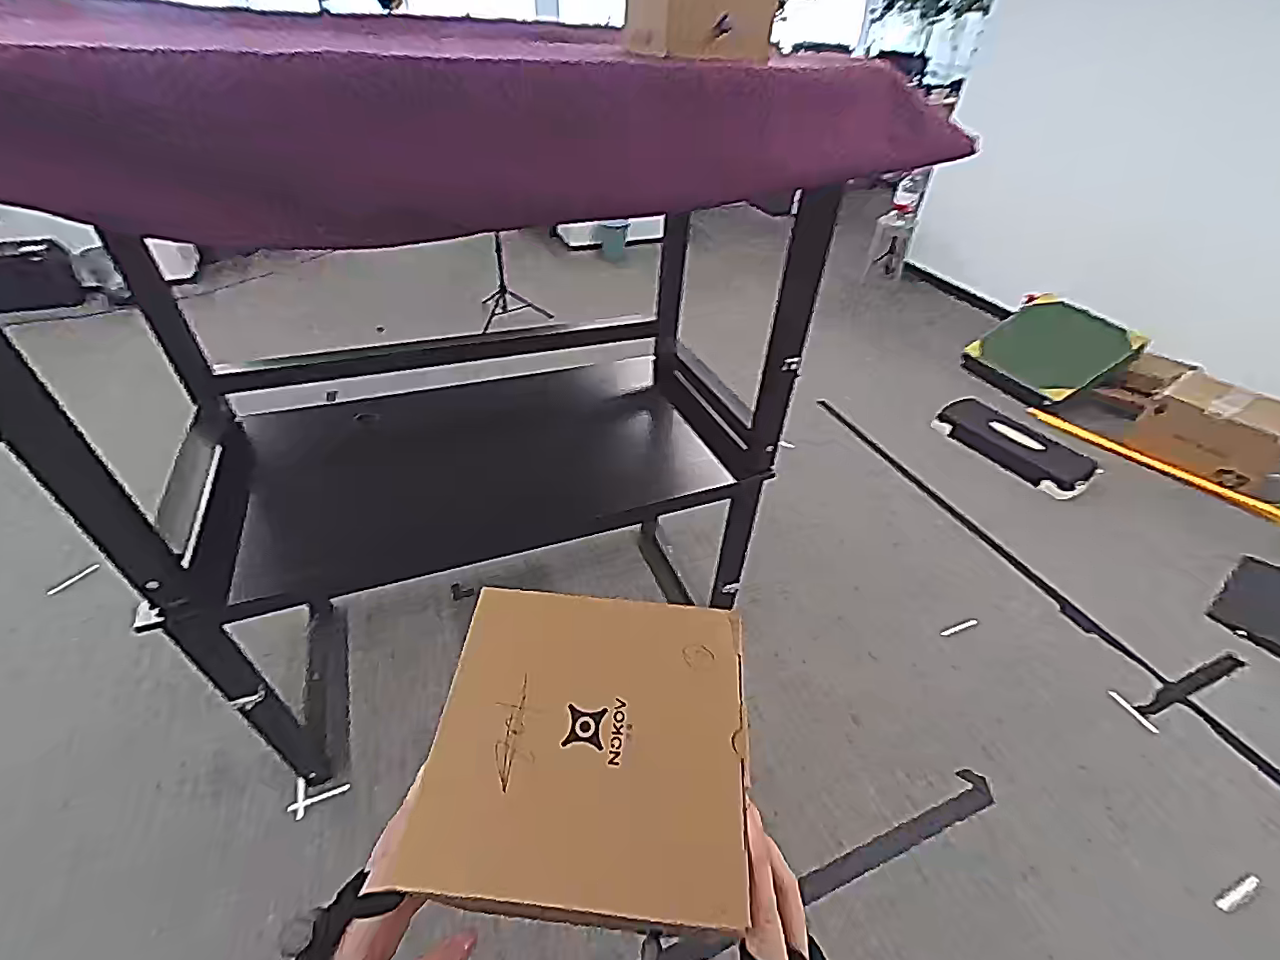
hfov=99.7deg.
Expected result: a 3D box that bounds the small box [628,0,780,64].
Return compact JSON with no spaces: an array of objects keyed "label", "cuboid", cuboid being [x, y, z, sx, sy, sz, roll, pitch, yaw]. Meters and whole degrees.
[{"label":"small box","cuboid":[0.092,-0.711,0.778,0.179,0.176,0.168,-14,42,-19]}]

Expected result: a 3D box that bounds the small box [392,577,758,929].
[{"label":"small box","cuboid":[-0.026,0.186,0.364,0.179,0.176,0.168,4,48,3]}]
